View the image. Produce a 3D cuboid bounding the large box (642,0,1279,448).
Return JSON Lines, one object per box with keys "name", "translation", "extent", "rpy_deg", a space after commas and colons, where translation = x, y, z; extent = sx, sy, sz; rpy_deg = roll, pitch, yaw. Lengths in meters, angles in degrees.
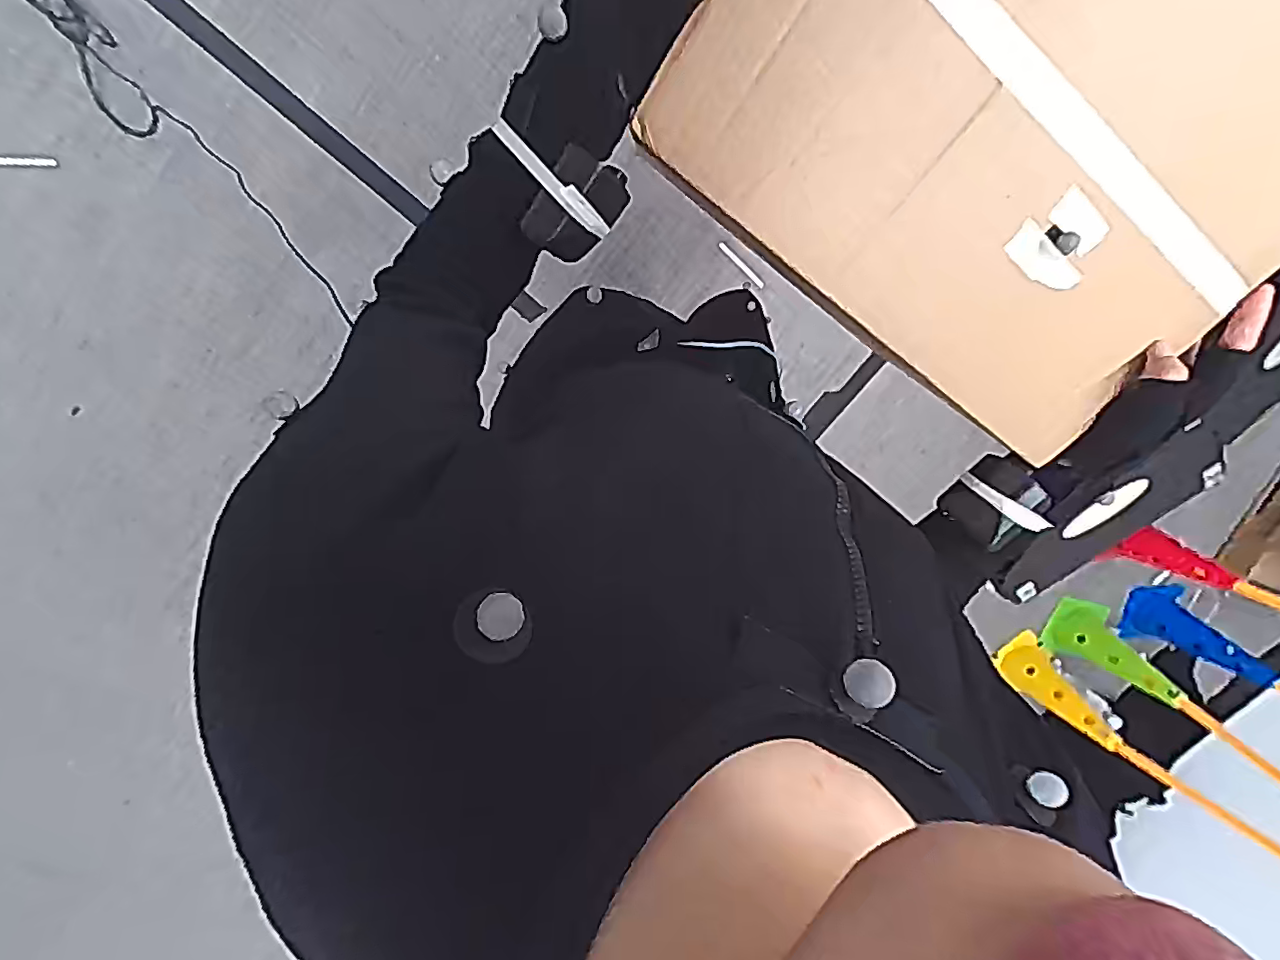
{"name": "large box", "translation": [0.247, -0.303, 0.468], "extent": [0.408, 0.320, 0.320], "rpy_deg": [32, 115, -16]}
